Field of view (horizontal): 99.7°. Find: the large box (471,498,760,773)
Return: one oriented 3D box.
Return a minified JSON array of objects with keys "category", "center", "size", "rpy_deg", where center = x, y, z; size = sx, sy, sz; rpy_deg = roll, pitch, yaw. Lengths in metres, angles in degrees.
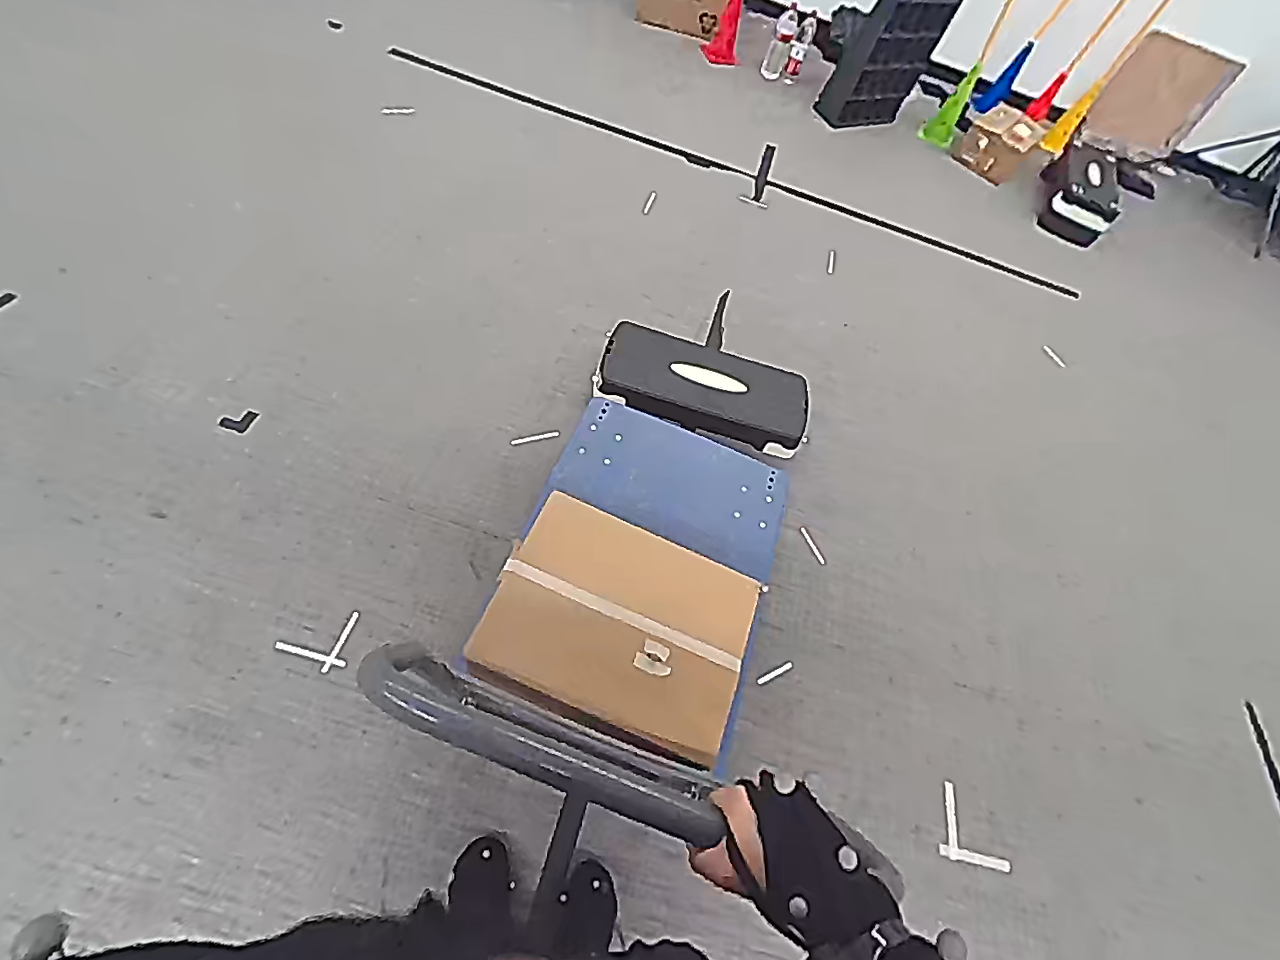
[{"category":"large box","center":[-0.053,0.297,0.994],"size":[0.408,0.320,0.320],"rpy_deg":[24,58,0]}]
